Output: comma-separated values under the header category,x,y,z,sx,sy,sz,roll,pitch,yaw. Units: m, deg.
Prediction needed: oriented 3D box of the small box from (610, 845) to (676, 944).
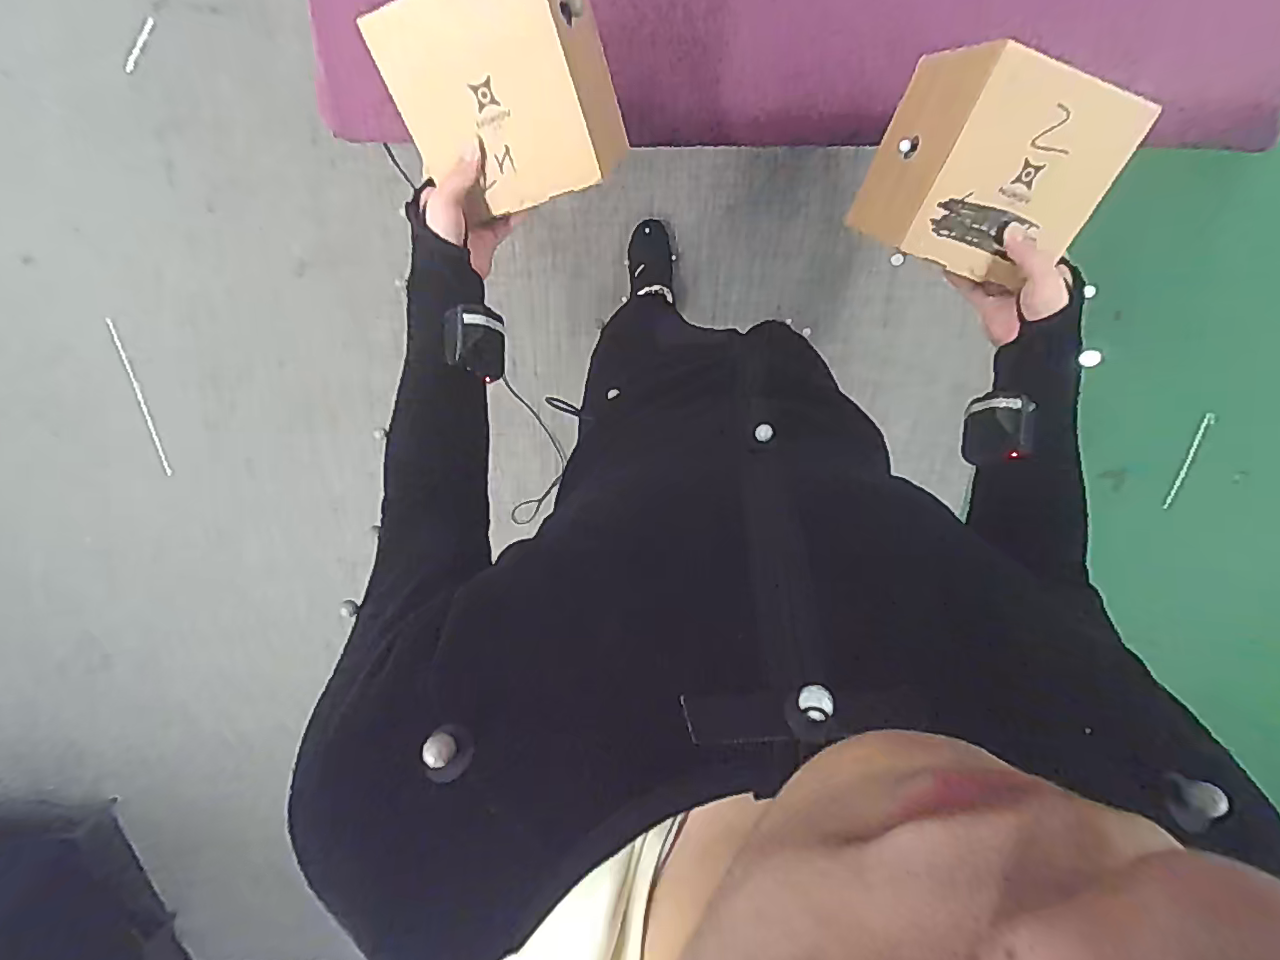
category,x,y,z,sx,sy,sz,roll,pitch,yaw
small box,0.008,1.205,1.579,0.168,0.176,0.179,8,114,-2

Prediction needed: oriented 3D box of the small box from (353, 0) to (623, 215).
category,x,y,z,sx,sy,sz,roll,pitch,yaw
small box,-0.126,-0.391,0.527,0.168,0.176,0.179,-7,130,16
